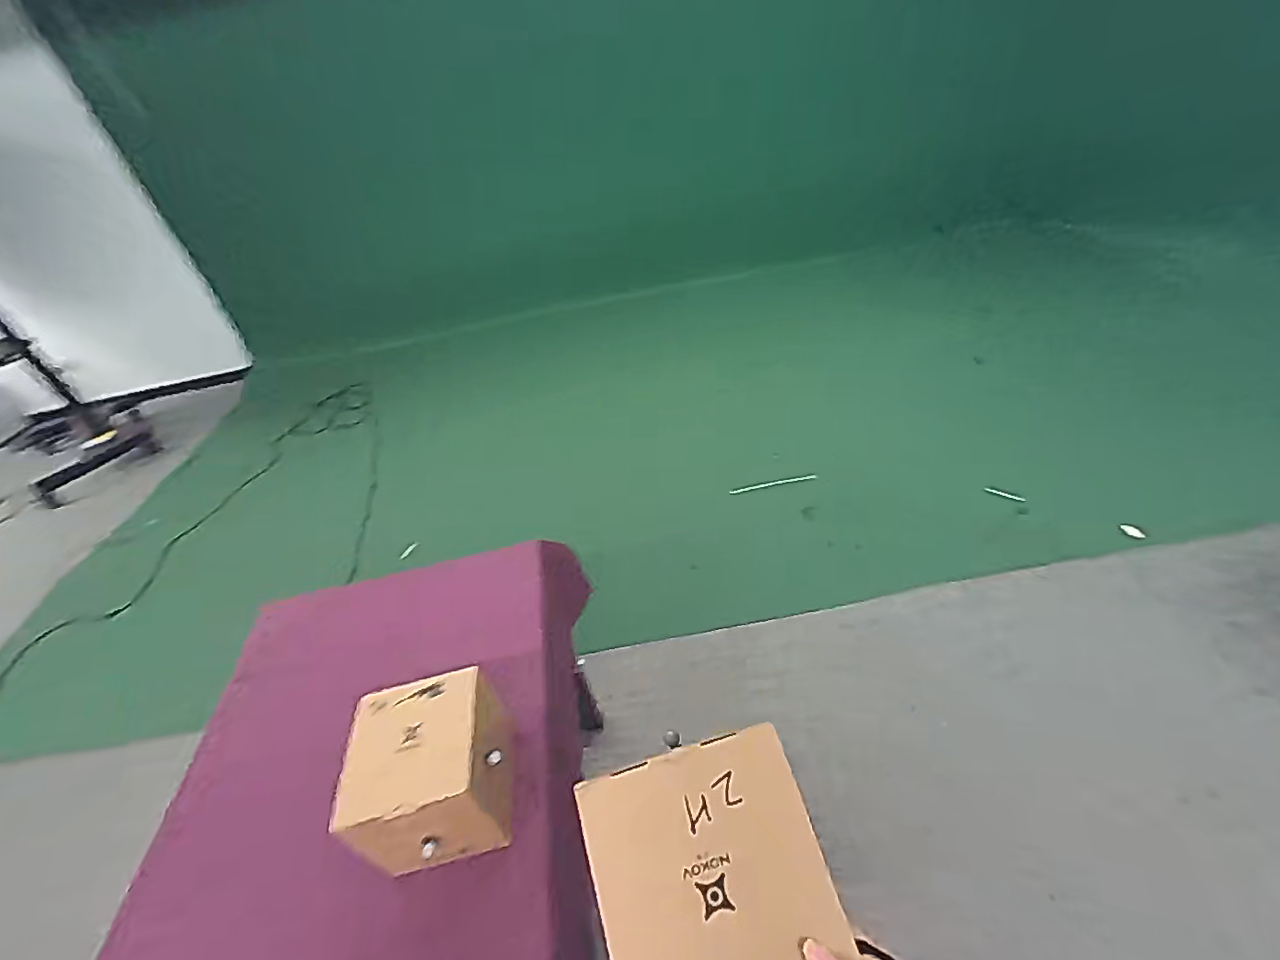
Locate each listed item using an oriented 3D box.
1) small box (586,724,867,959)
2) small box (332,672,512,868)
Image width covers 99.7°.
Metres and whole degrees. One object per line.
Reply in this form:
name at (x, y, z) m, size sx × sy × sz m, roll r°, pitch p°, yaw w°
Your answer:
small box at (0.064, 0.320, 0.458) m, size 0.168 × 0.176 × 0.179 m, roll -16°, pitch 64°, yaw -4°
small box at (-0.279, 0.401, 0.741) m, size 0.168 × 0.176 × 0.179 m, roll -14°, pitch 39°, yaw -2°
